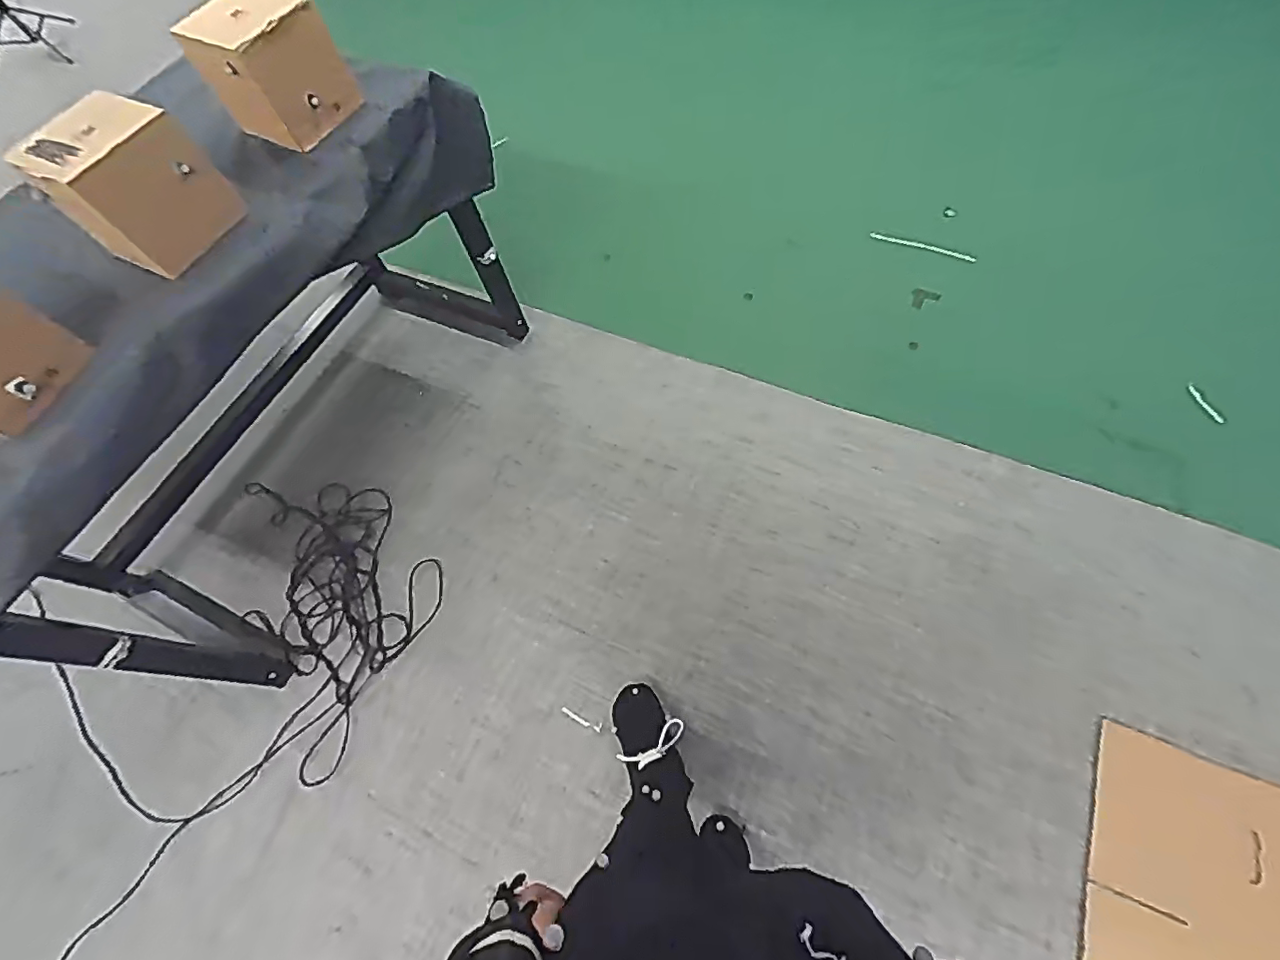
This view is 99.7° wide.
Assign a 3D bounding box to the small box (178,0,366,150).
[{"bbox_3d":[-0.637,-0.723,0.956,0.179,0.176,0.168,26,70,17],"label":"small box"}]

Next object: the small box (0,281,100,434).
[{"bbox_3d":[-0.919,-0.182,0.730,0.179,0.176,0.168,15,68,12],"label":"small box"}]
